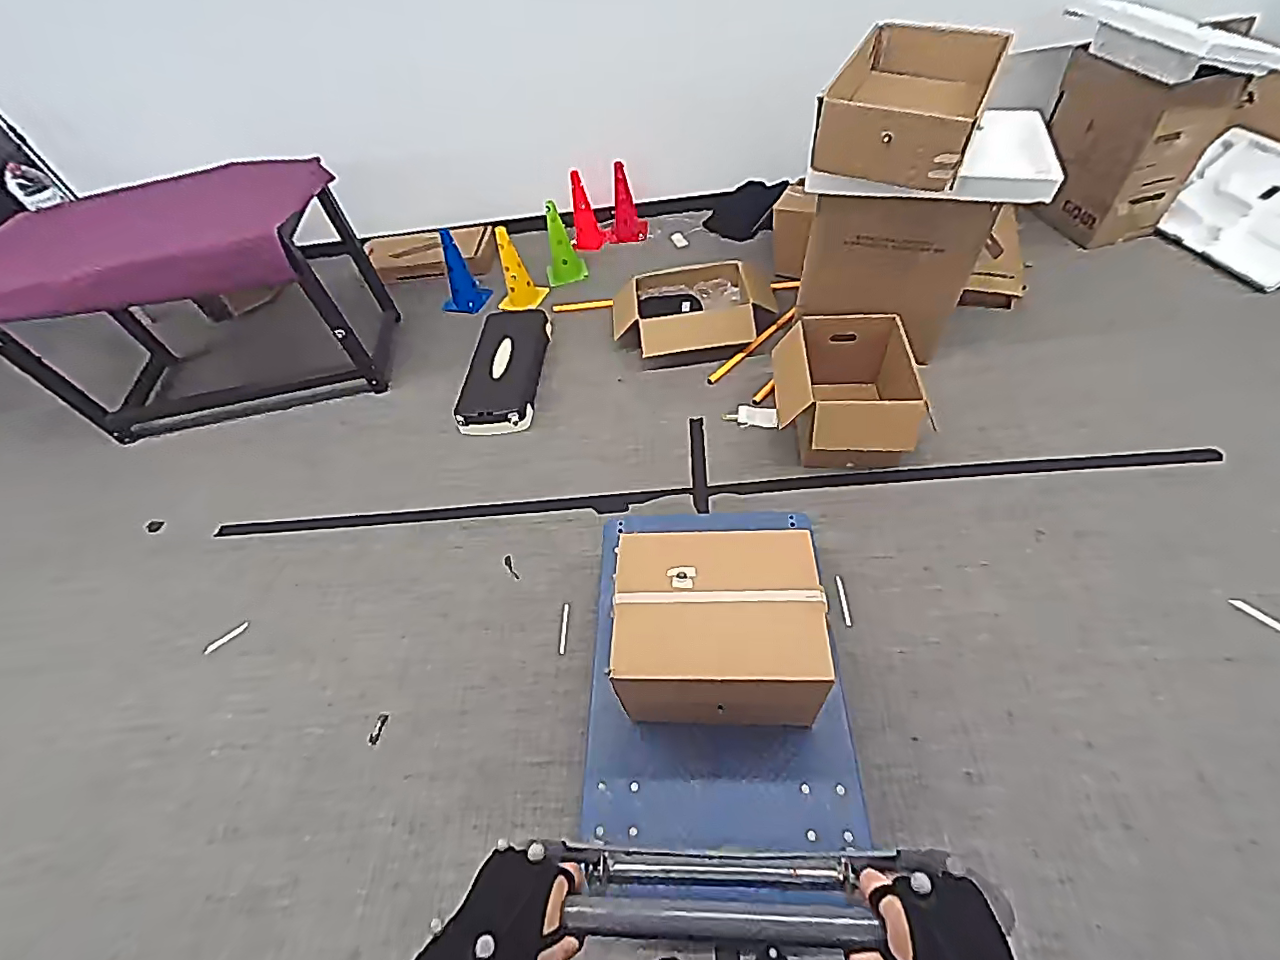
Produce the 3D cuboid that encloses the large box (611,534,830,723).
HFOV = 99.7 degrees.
[{"bbox_3d":[0.167,0.337,1.190,0.408,0.320,0.320,-3,51,7],"label":"large box"}]
